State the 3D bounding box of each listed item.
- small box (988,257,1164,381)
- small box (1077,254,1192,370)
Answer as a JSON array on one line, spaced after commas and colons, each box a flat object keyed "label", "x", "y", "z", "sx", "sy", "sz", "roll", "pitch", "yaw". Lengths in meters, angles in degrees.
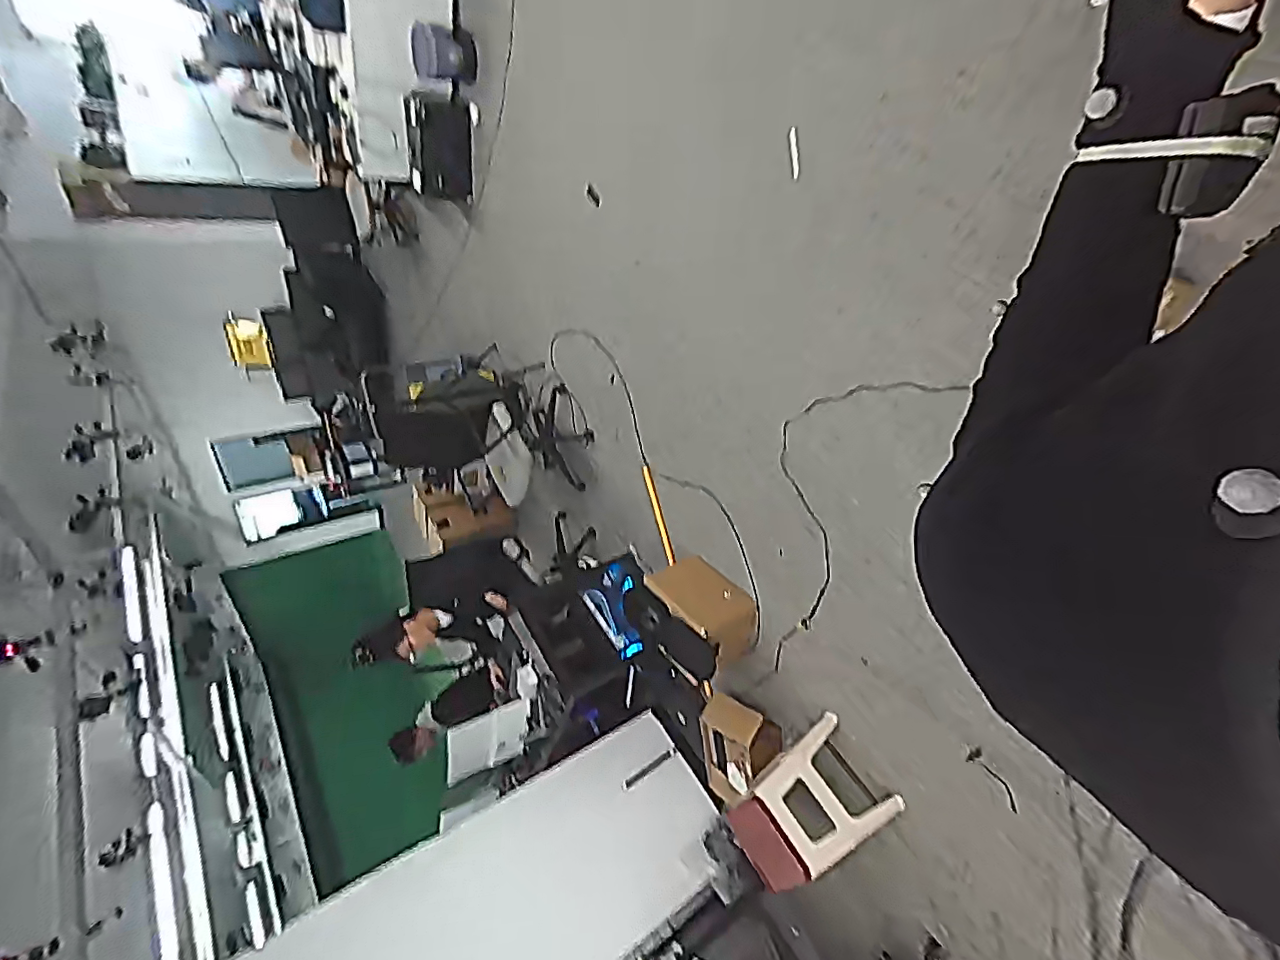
[{"label": "small box", "x": 0.816, "y": -0.308, "z": 1.014, "sx": 0.179, "sy": 0.176, "sz": 0.168, "roll": 47, "pitch": 138, "yaw": 36}, {"label": "small box", "x": 0.950, "y": -0.345, "z": 1.100, "sx": 0.179, "sy": 0.176, "sz": 0.168, "roll": 48, "pitch": 139, "yaw": 32}]
